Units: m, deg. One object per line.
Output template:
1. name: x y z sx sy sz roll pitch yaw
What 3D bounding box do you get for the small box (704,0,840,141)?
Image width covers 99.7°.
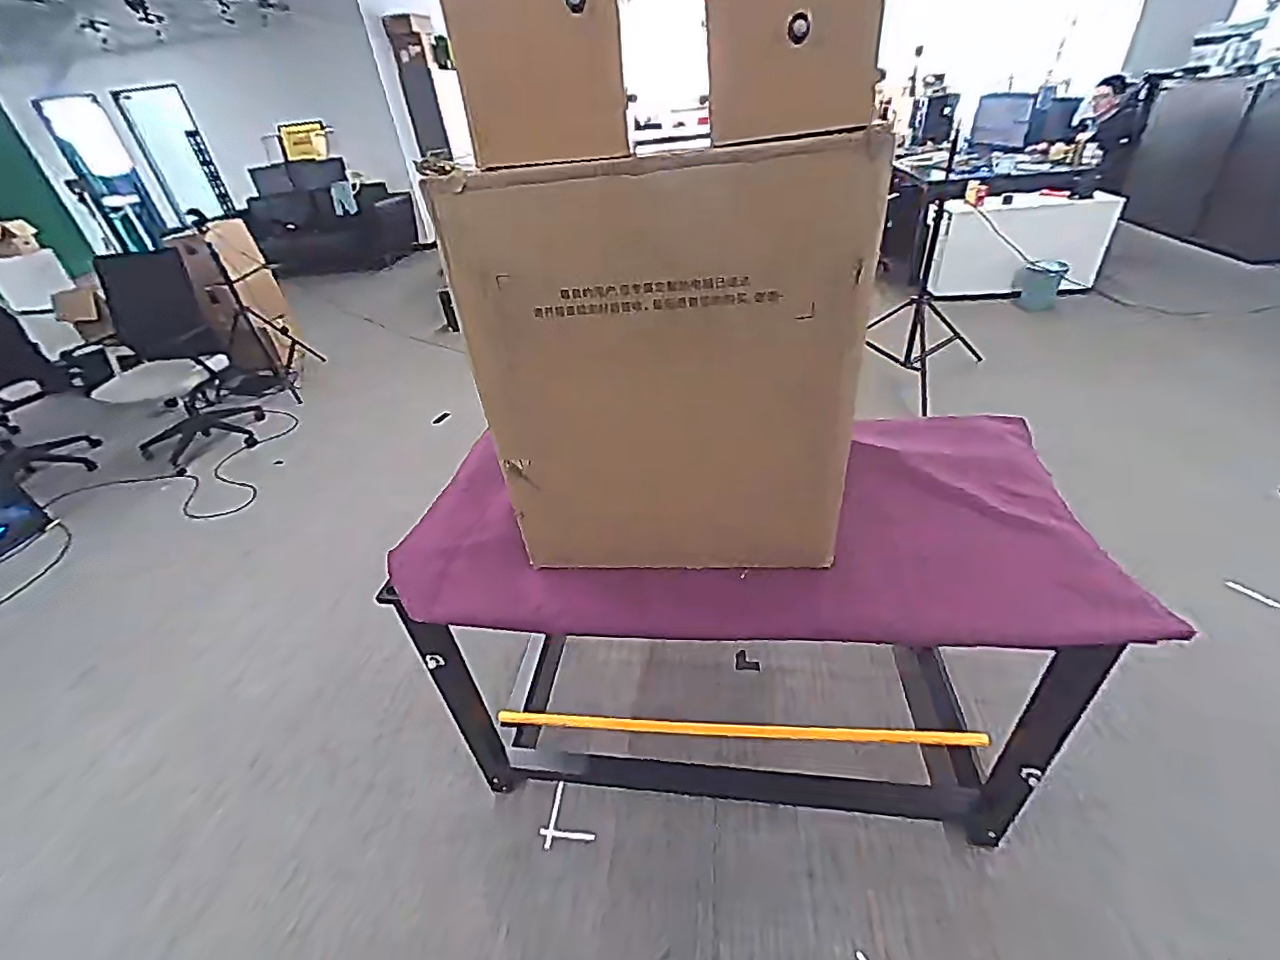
1. small box: 0.178 -0.585 0.761 0.168 0.176 0.179 -1 35 10
